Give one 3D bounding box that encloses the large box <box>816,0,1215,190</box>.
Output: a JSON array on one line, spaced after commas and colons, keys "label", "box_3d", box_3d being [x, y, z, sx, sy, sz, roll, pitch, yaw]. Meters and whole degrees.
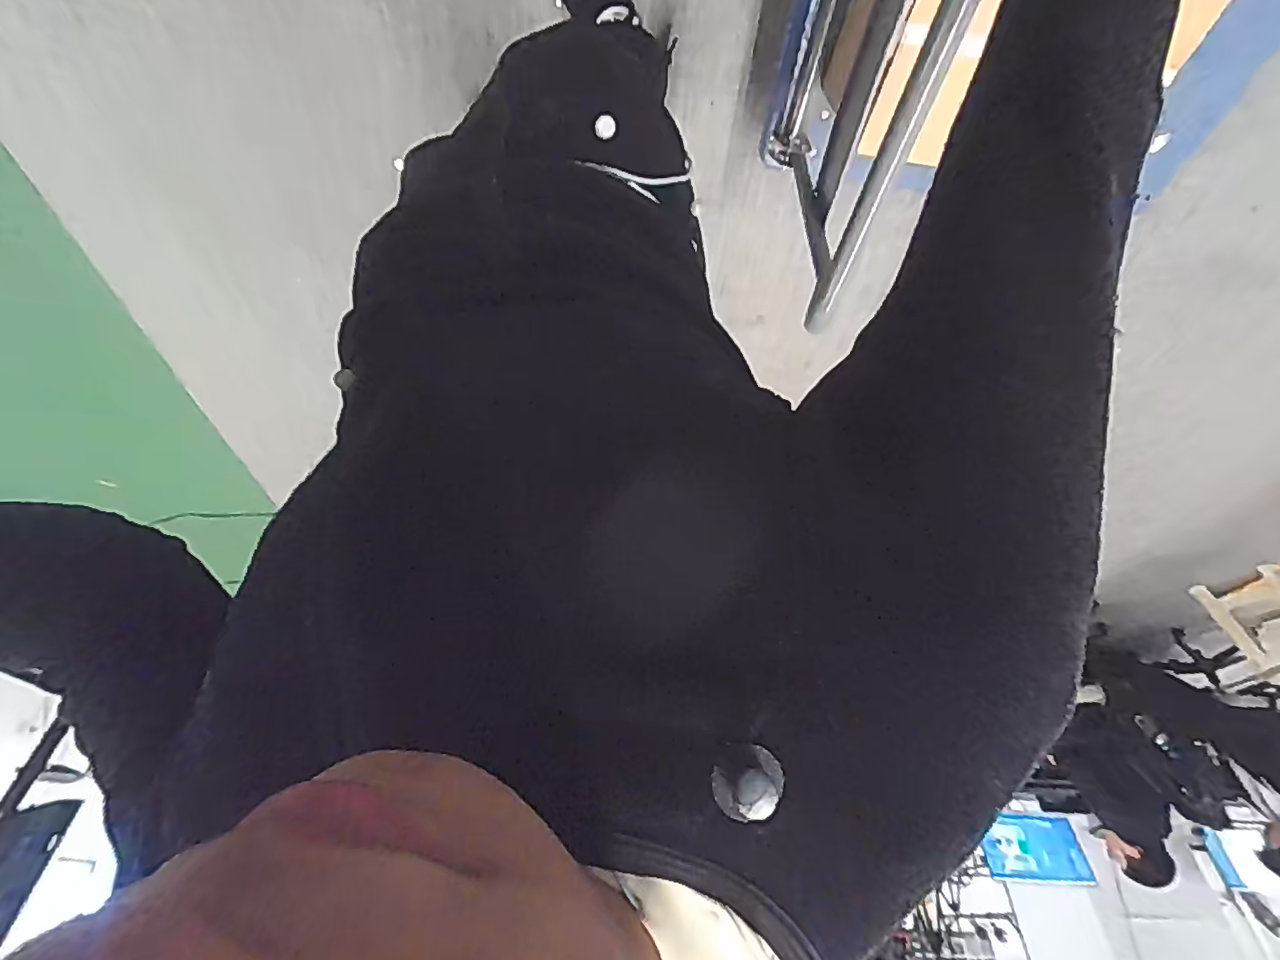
[{"label": "large box", "box_3d": [0.548, -0.708, 0.858, 0.408, 0.320, 0.320, 6, 141, -6]}]
